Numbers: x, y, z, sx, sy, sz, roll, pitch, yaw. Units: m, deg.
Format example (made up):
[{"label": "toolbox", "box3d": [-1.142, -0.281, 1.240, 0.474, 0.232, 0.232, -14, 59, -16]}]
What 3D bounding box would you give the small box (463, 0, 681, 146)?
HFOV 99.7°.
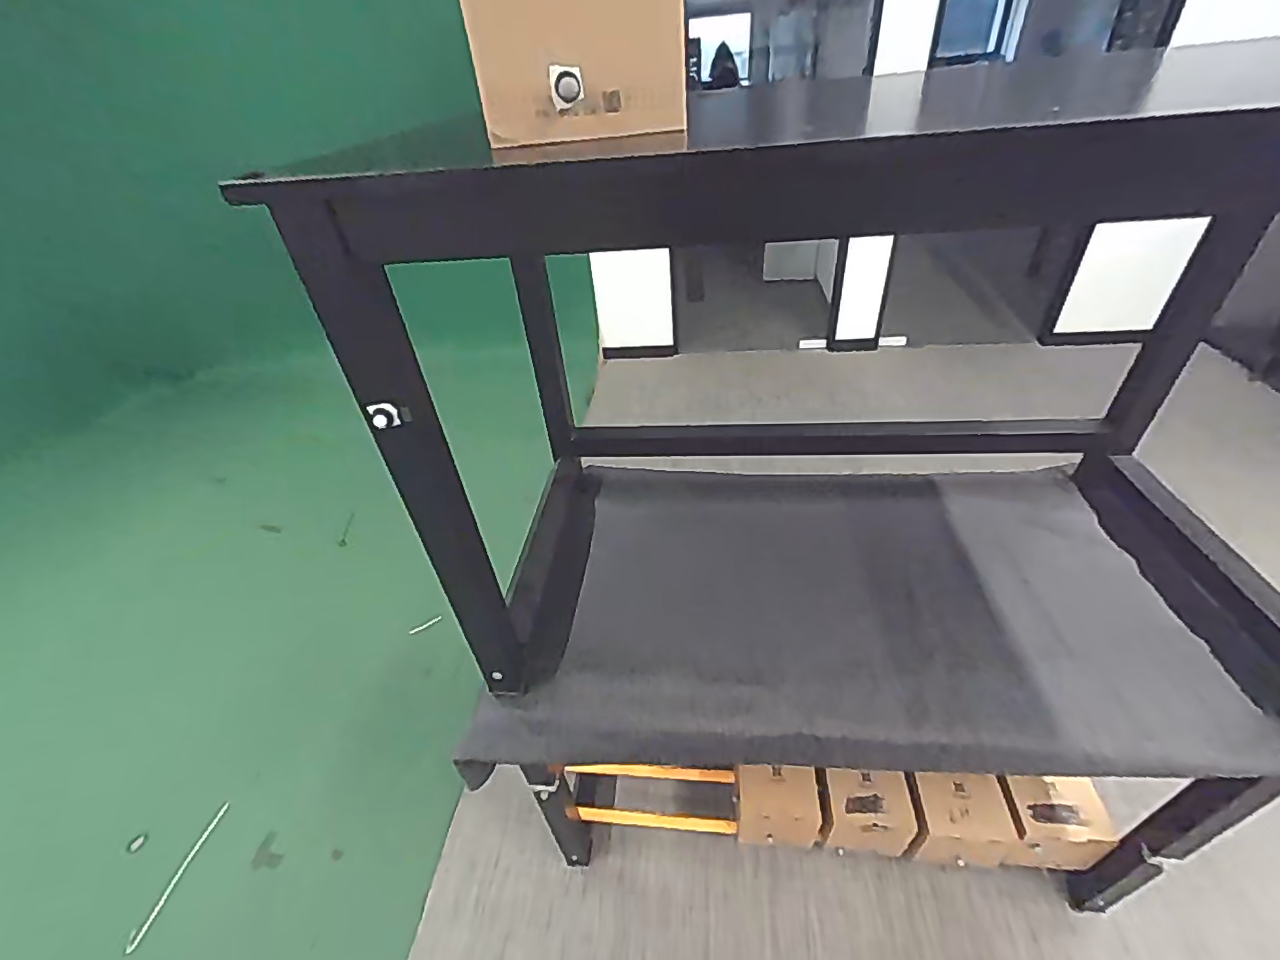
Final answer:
[{"label": "small box", "box3d": [-0.059, -0.403, 0.473, 0.168, 0.176, 0.179, -8, 39, -1]}]
